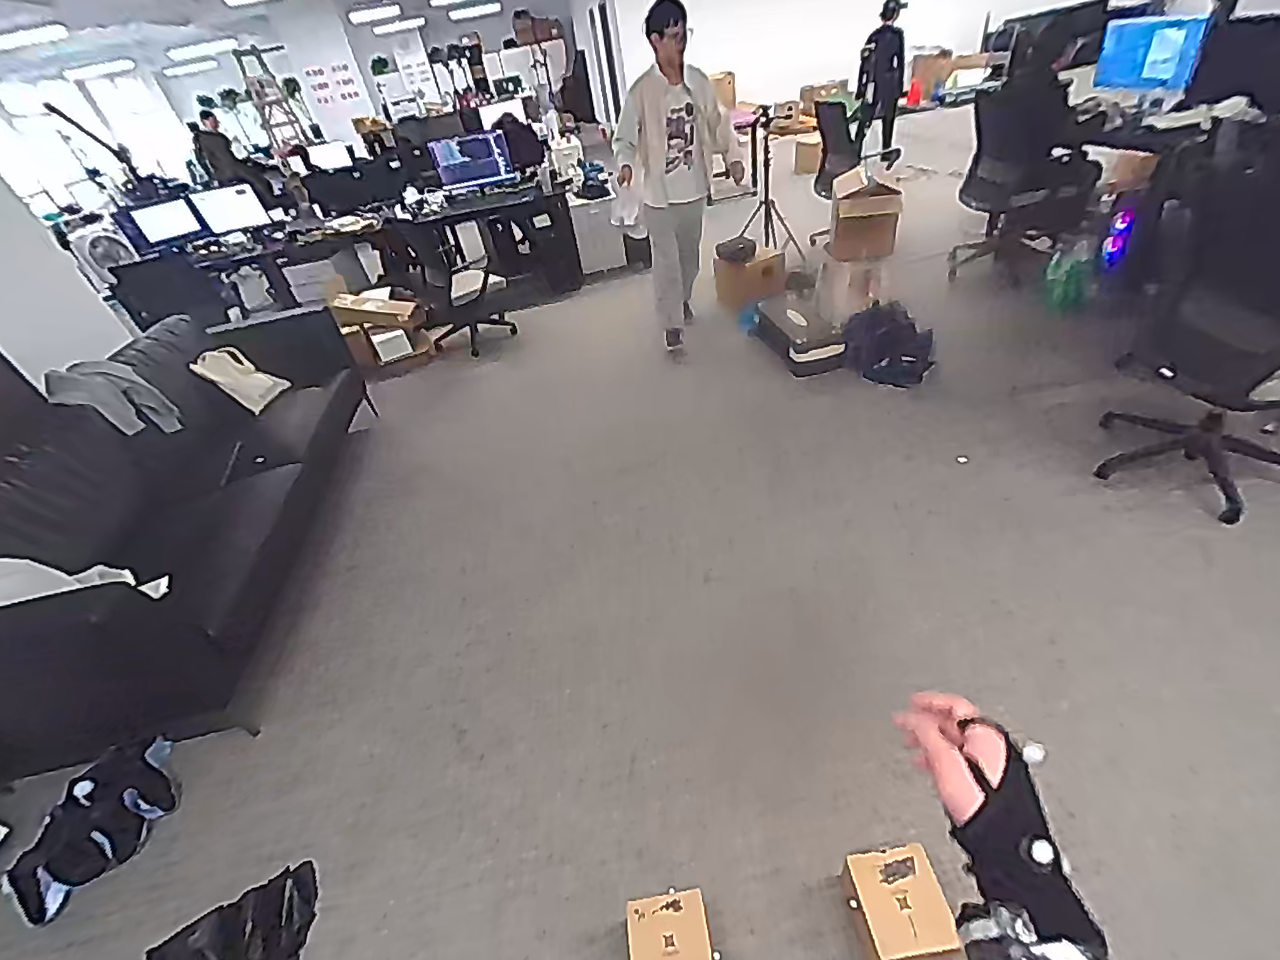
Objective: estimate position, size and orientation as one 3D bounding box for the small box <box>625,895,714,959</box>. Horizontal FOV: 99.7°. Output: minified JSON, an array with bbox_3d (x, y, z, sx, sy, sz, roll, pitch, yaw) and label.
[{"bbox_3d":[0.069,1.010,1.133,0.168,0.176,0.179,-11,38,0],"label":"small box"}]

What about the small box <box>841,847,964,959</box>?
[{"bbox_3d":[0.536,0.912,1.136,0.168,0.176,0.179,-12,39,1],"label":"small box"}]
